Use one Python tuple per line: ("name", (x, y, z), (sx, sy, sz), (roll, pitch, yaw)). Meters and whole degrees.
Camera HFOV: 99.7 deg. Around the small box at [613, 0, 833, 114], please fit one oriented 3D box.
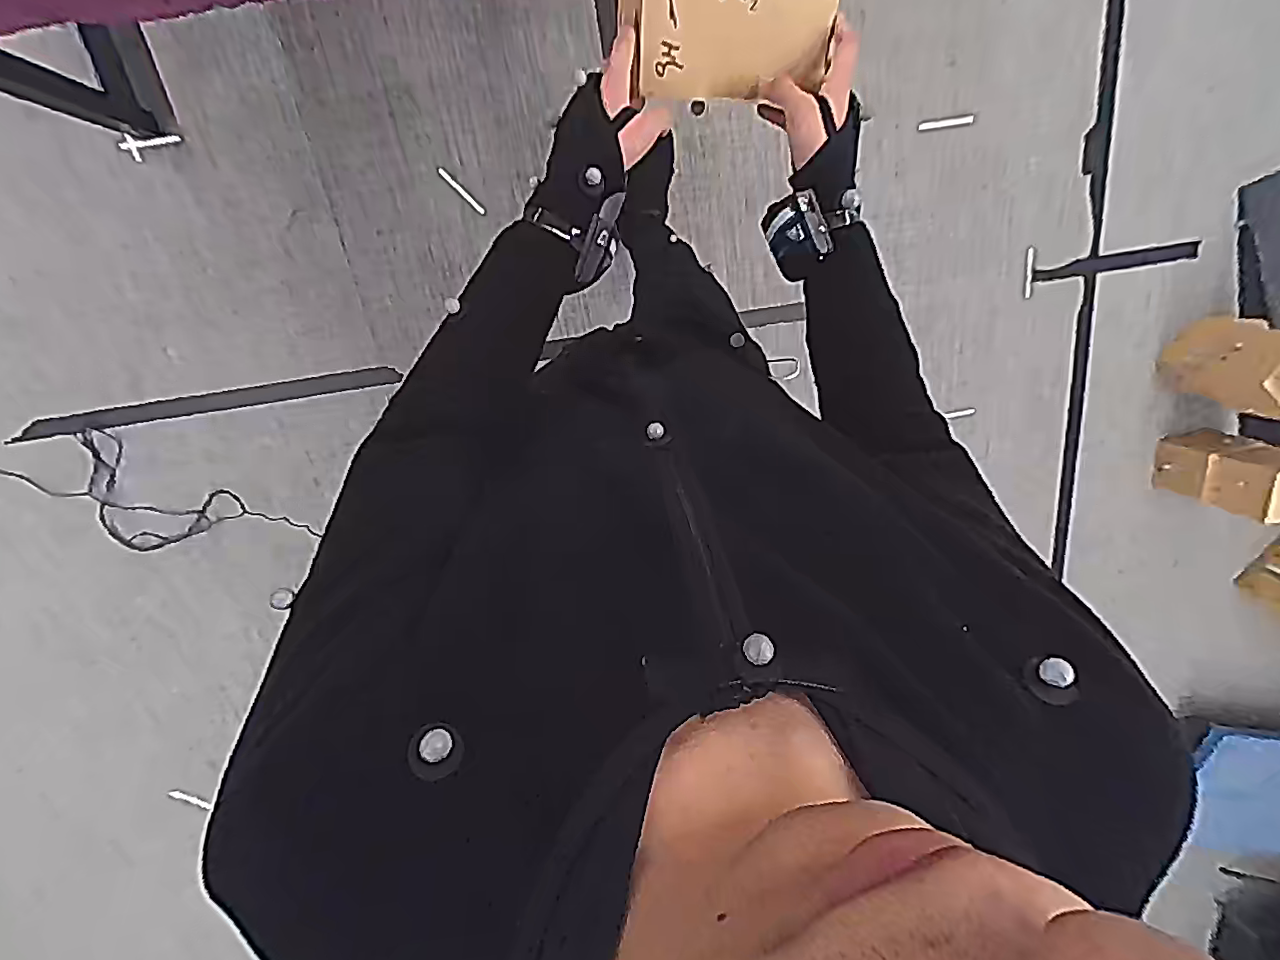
("small box", (0.073, -0.467, 0.524), (0.179, 0.176, 0.168), (-3, 128, -9))
